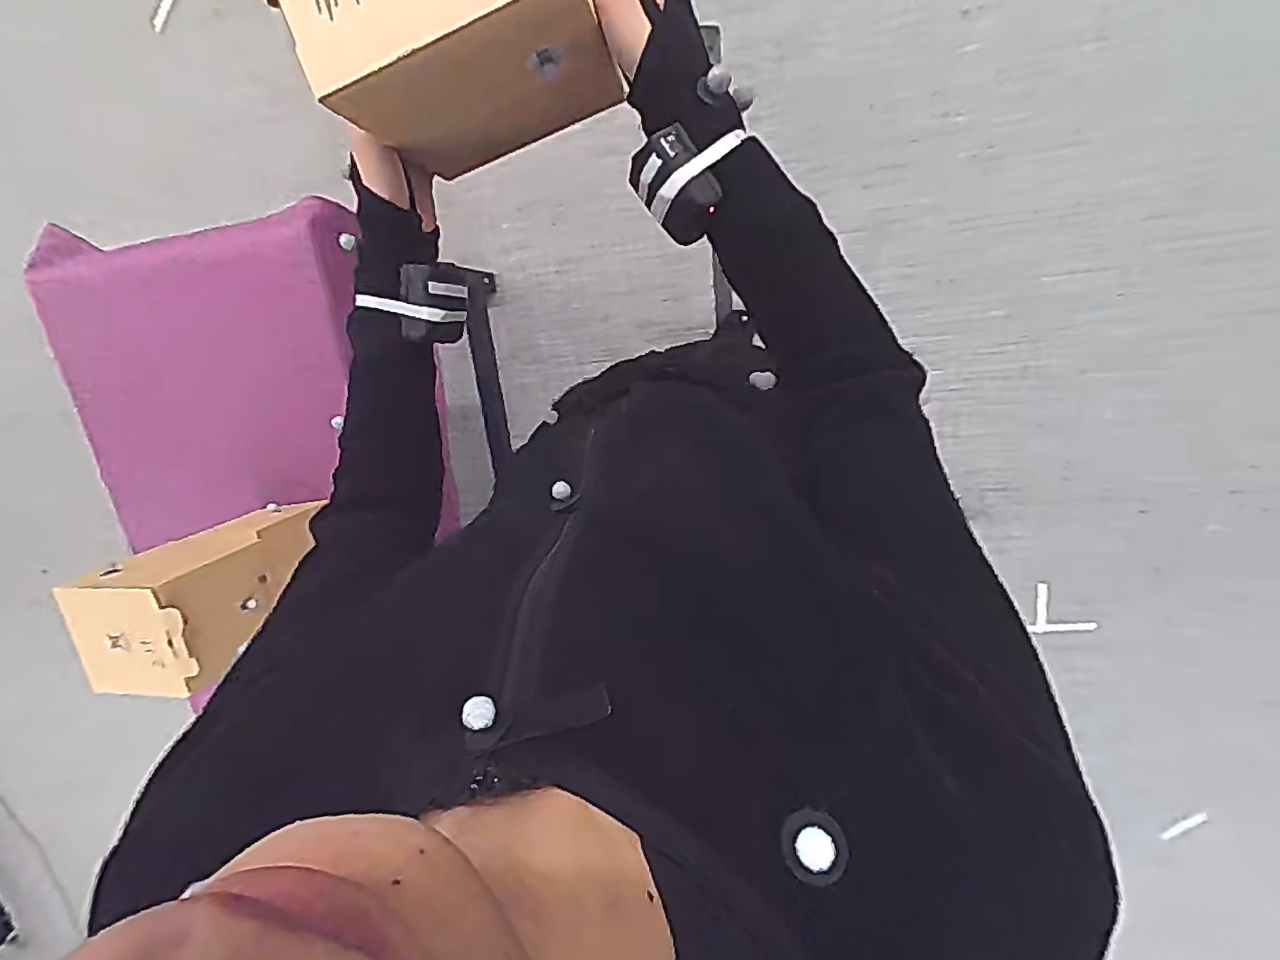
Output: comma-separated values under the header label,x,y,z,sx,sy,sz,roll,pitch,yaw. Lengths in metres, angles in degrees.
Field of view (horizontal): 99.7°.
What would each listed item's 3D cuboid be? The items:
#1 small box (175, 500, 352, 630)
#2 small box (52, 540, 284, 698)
label,x,y,z,sx,sy,sz,roll,pitch,yaw
small box,-0.650,0.150,0.957,0.168,0.176,0.179,-8,104,12
small box,-0.682,0.196,0.802,0.179,0.176,0.168,-2,106,11
